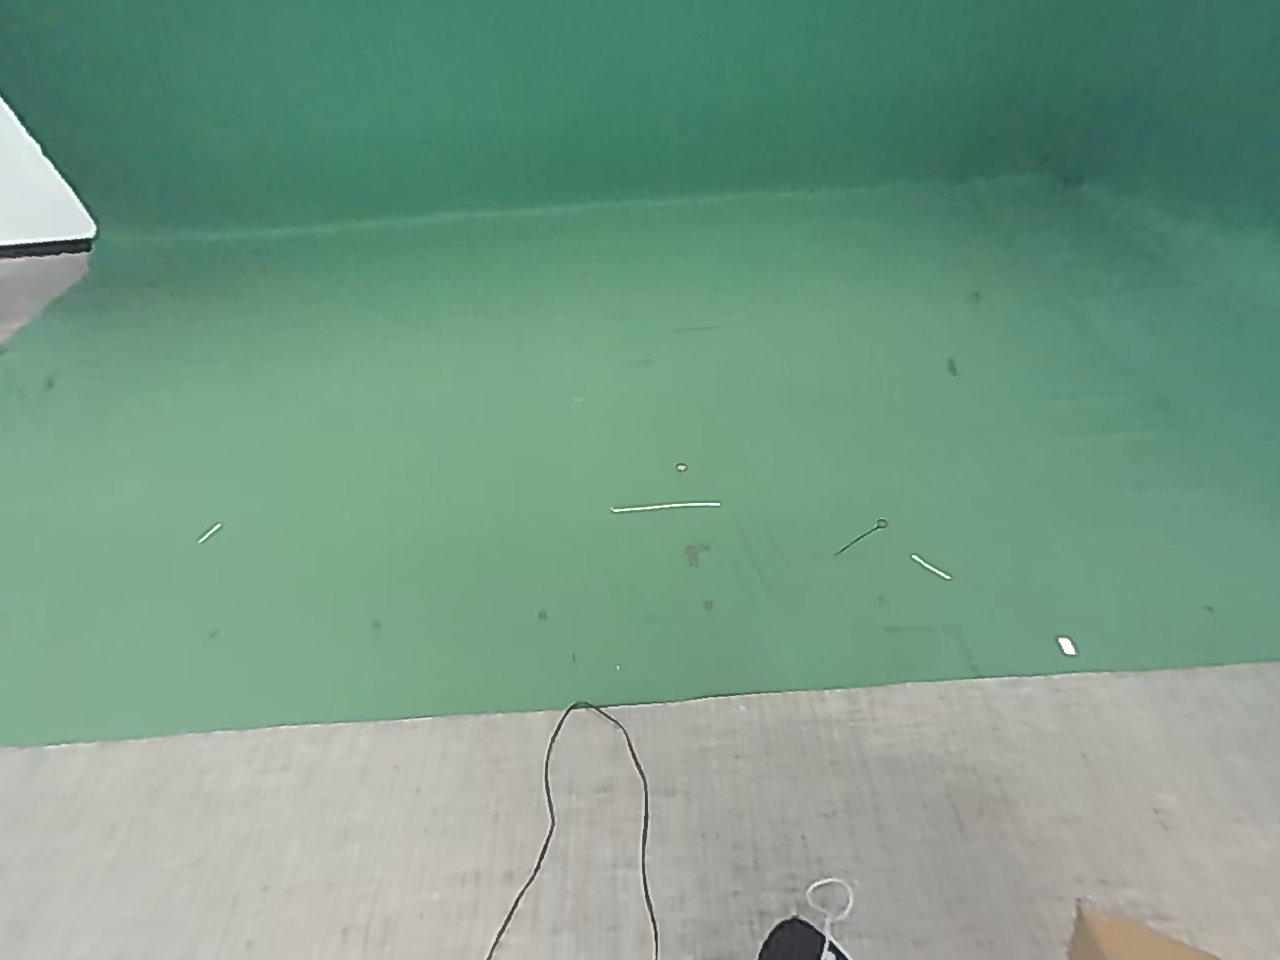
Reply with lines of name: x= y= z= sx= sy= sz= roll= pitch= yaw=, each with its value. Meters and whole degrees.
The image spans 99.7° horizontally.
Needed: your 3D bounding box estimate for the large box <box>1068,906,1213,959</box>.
large box: x=0.625 y=0.741 z=0.508 sx=0.320 sy=0.408 sz=0.320 roll=13 pitch=88 yaw=28
